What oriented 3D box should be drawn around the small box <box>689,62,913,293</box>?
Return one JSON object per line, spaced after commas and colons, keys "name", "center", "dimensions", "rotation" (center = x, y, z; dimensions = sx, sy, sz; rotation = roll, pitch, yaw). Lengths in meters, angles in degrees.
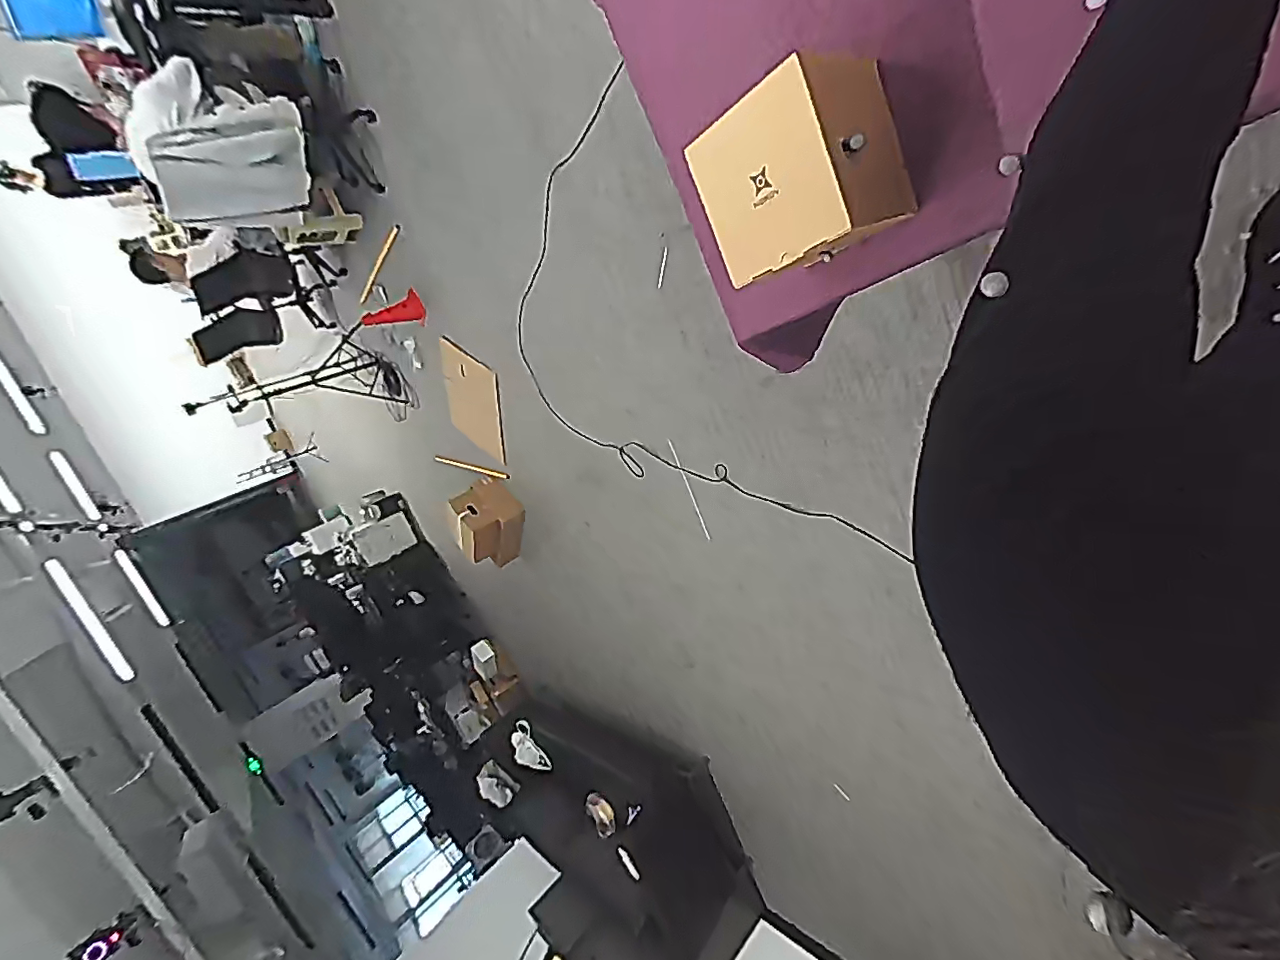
{"name": "small box", "center": [0.195, -0.352, 0.647], "dimensions": [0.168, 0.176, 0.179], "rotation": [-10, 107, 52]}
